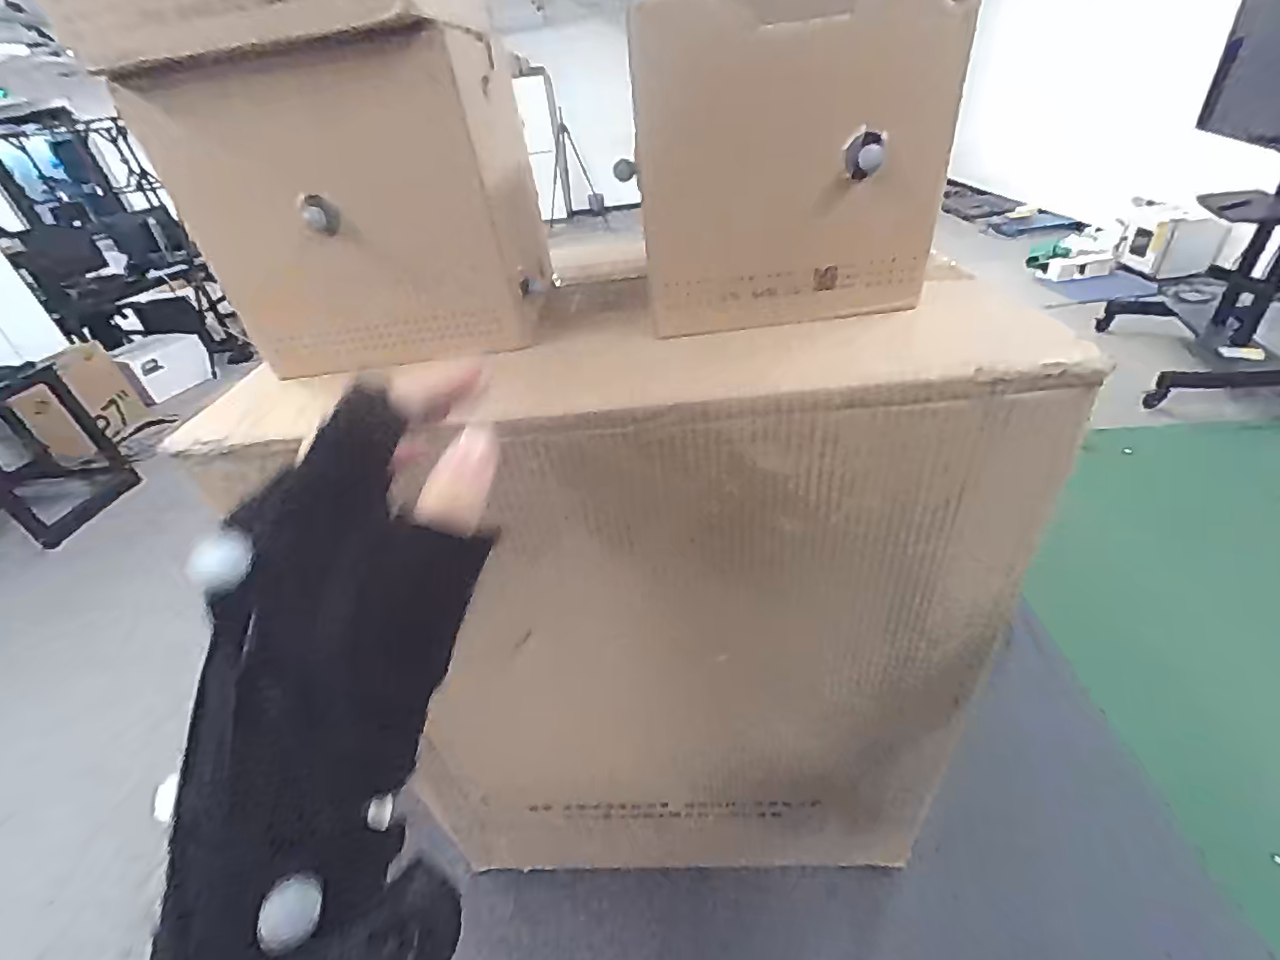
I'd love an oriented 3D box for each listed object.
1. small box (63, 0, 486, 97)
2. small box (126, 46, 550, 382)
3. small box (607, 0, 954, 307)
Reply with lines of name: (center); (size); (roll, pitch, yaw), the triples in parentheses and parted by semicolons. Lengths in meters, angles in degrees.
small box: (-0.194, -0.309, 0.277); (0.168, 0.176, 0.179); (-7, 38, 4)
small box: (-0.171, -0.187, 0.384); (0.179, 0.176, 0.168); (-7, 38, 4)
small box: (0.074, -0.223, 0.355); (0.168, 0.176, 0.179); (-8, 39, 0)
